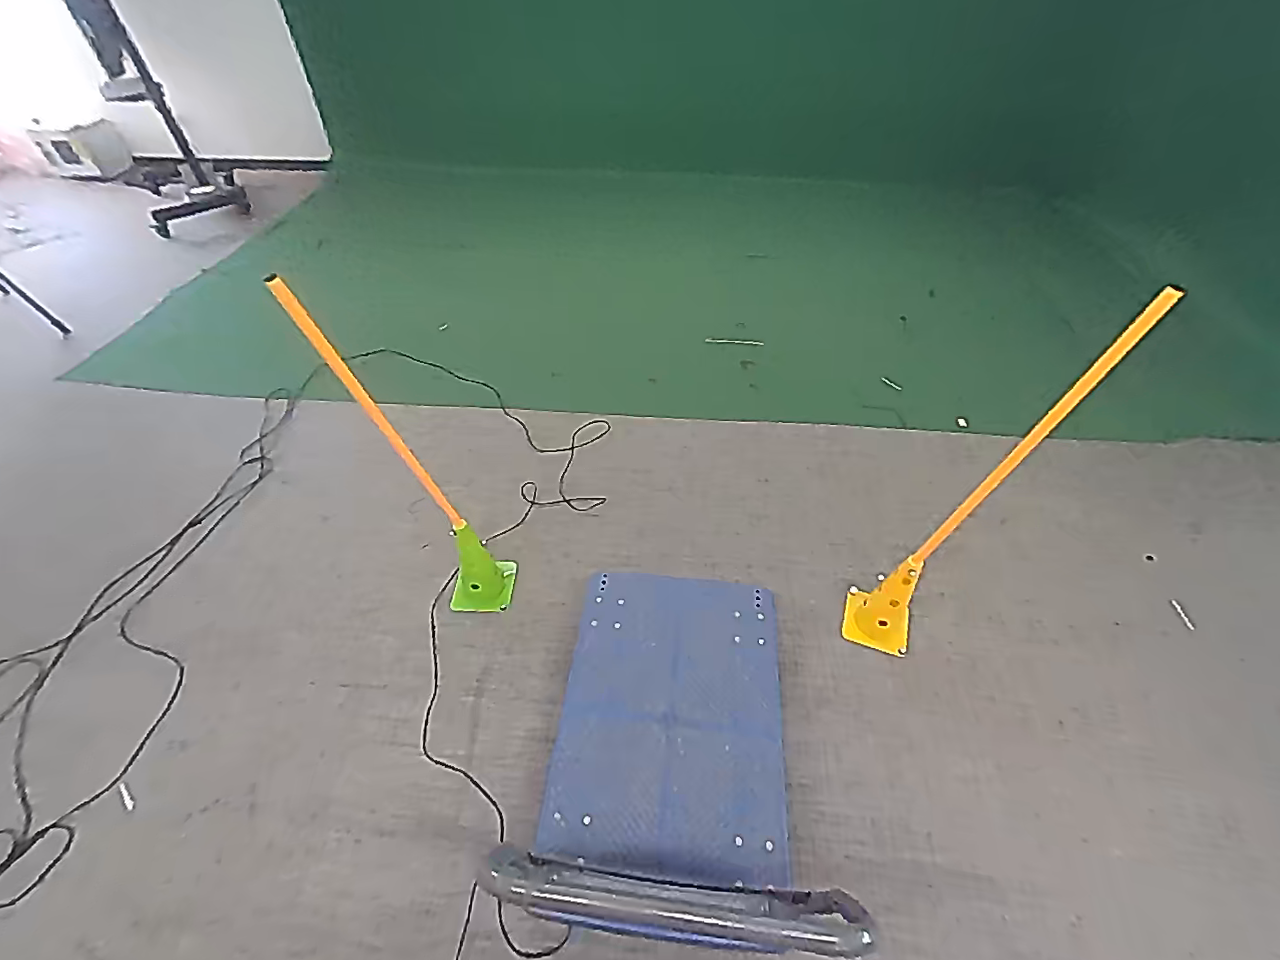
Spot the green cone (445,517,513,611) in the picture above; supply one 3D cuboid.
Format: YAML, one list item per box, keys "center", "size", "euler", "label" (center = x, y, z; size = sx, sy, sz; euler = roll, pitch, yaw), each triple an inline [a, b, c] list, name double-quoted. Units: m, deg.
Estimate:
- center: [-0.553, 0.245, 1.744]
  size: [0.202, 0.368, 0.200]
  euler: [-1, 47, 2]
  label: "green cone"
